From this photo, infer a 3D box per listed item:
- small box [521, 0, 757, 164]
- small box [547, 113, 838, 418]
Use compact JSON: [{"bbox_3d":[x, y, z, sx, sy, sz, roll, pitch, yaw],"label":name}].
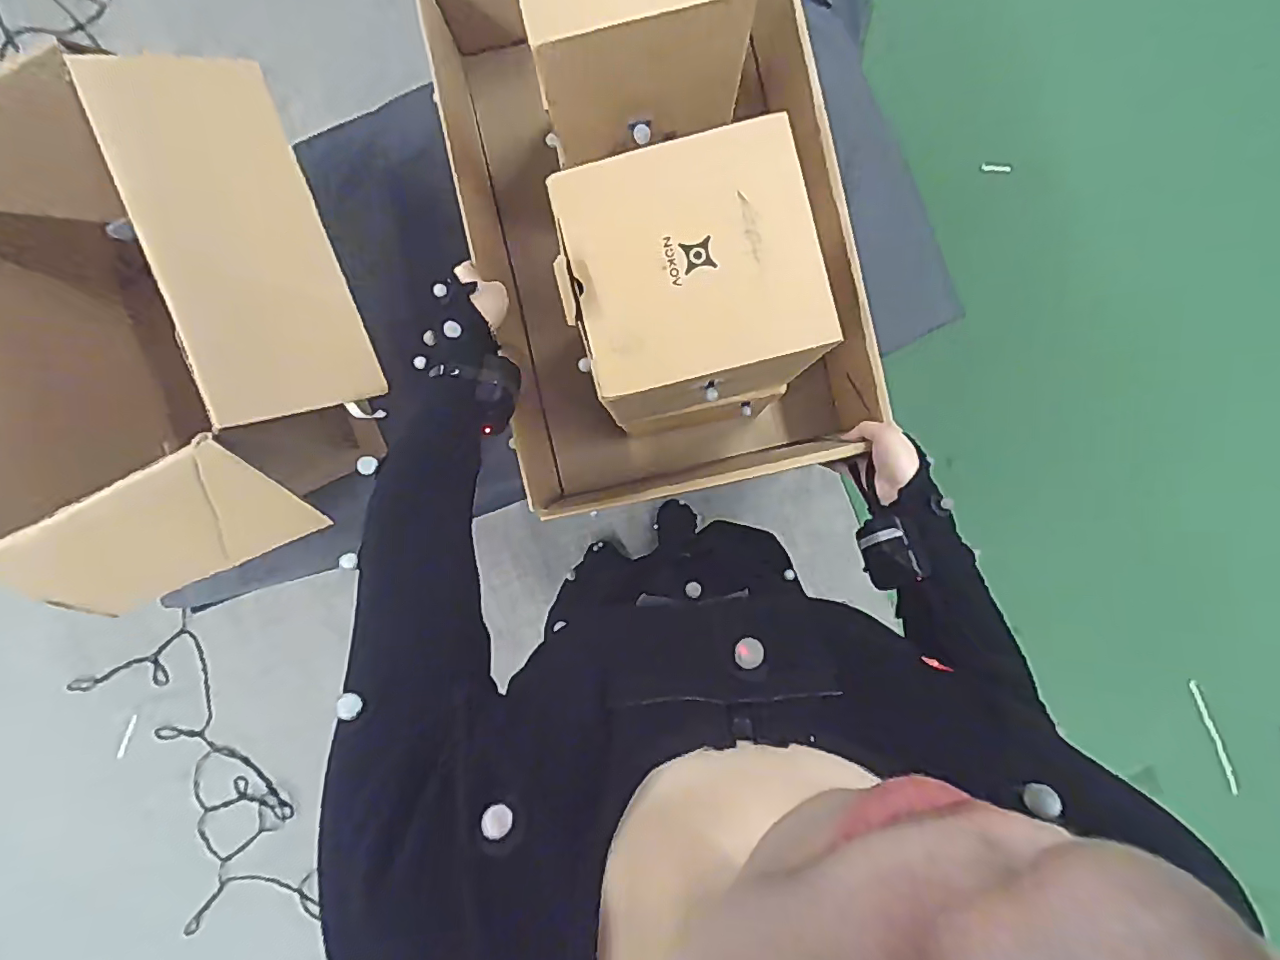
[{"bbox_3d":[-0.012,-0.405,0.452,0.168,0.176,0.179,-12,92,3],"label":"small box"},{"bbox_3d":[0.039,-0.156,0.457,0.179,0.176,0.168,-14,90,2],"label":"small box"}]
